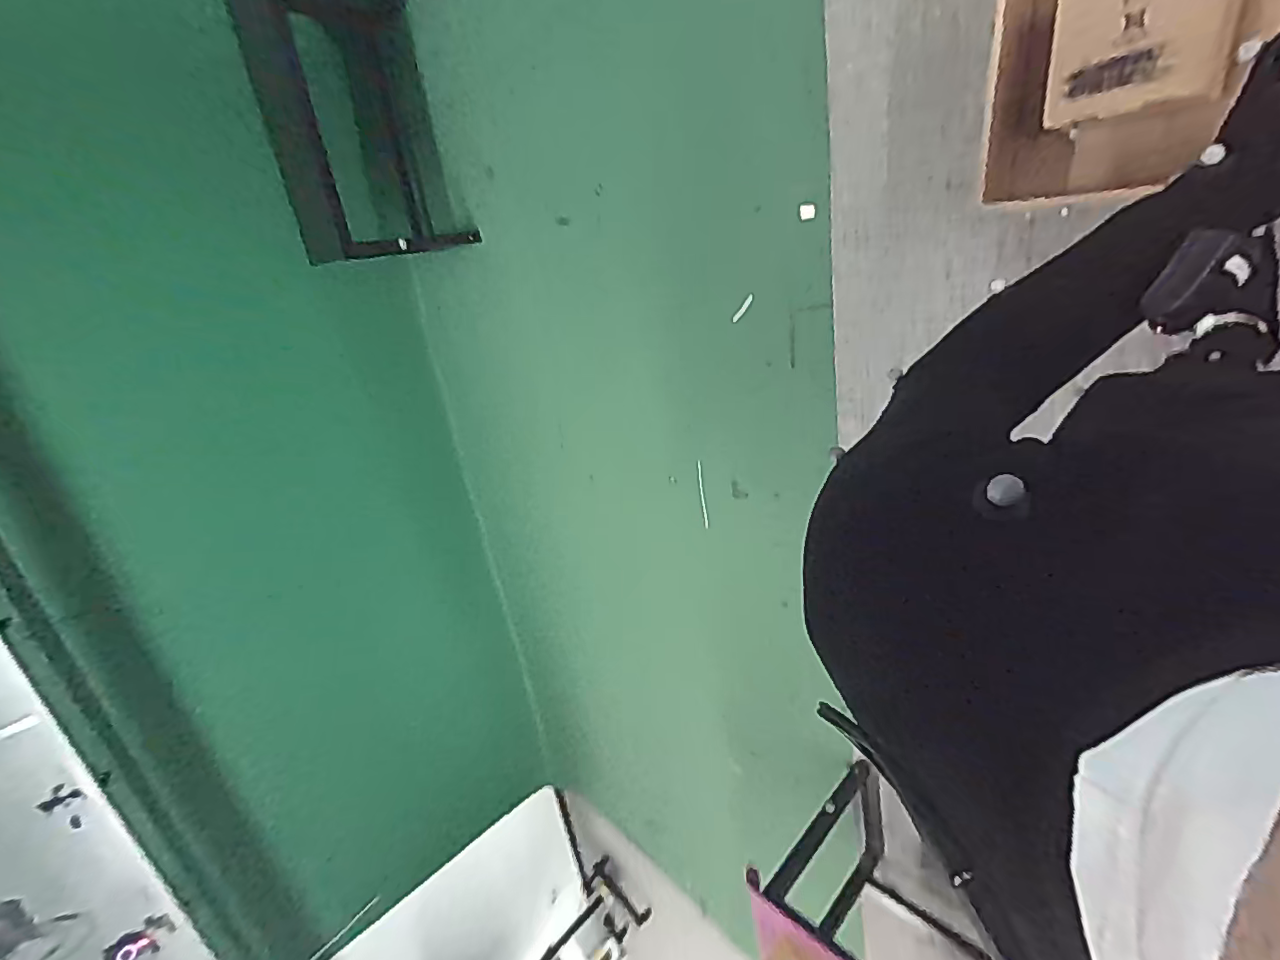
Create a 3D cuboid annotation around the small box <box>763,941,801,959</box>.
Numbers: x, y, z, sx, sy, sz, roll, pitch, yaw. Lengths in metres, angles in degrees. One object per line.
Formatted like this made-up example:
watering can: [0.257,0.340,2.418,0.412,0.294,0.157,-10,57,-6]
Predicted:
small box: [0.441,1.564,1.626,0.168,0.176,0.179,12,118,44]
